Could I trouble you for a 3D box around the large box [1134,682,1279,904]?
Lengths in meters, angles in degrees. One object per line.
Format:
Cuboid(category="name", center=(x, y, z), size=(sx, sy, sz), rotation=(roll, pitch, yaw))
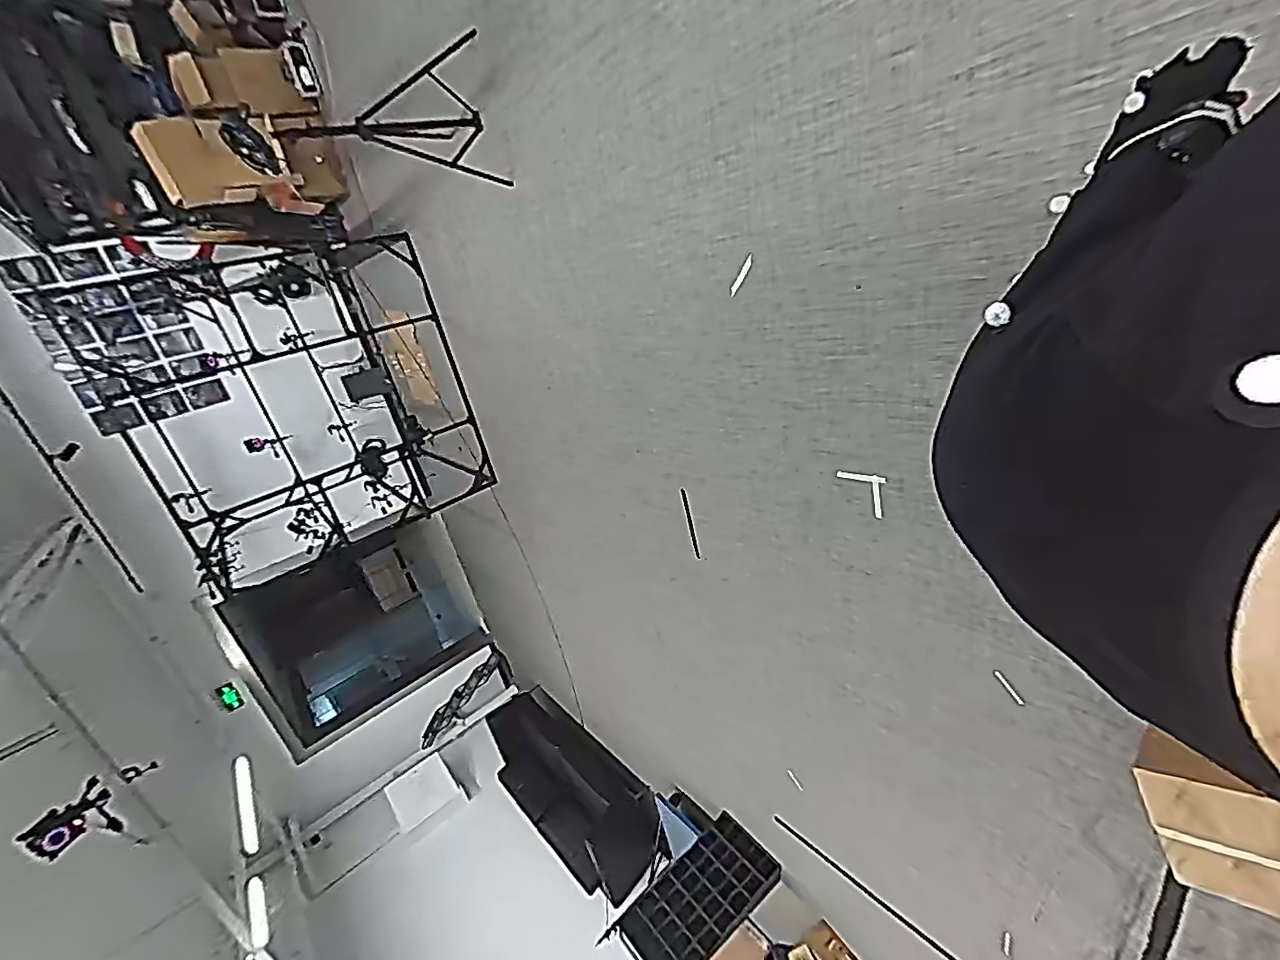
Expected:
Cuboid(category="large box", center=(1.382, 0.667, 1.139), size=(0.408, 0.320, 0.320), rotation=(-17, 100, 57))
